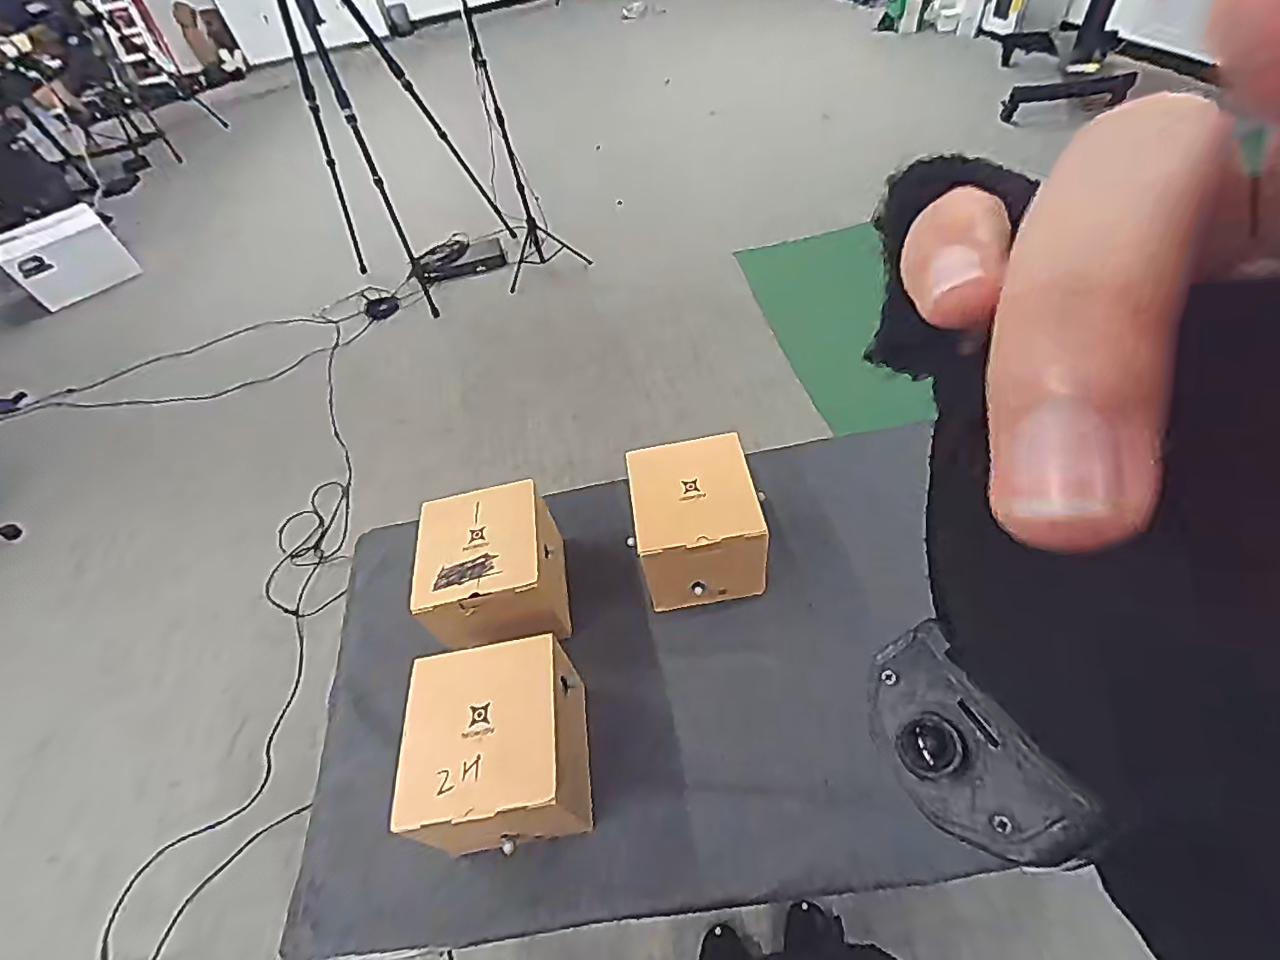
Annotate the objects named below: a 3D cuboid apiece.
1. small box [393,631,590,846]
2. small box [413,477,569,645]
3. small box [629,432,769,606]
[{"bbox_3d":[-0.158,0.304,0.632,0.168,0.176,0.179,-11,50,1],"label":"small box"},{"bbox_3d":[-0.204,0.126,0.781,0.168,0.176,0.179,-12,51,0],"label":"small box"},{"bbox_3d":[0.081,0.059,0.788,0.168,0.176,0.179,-10,52,2],"label":"small box"}]
